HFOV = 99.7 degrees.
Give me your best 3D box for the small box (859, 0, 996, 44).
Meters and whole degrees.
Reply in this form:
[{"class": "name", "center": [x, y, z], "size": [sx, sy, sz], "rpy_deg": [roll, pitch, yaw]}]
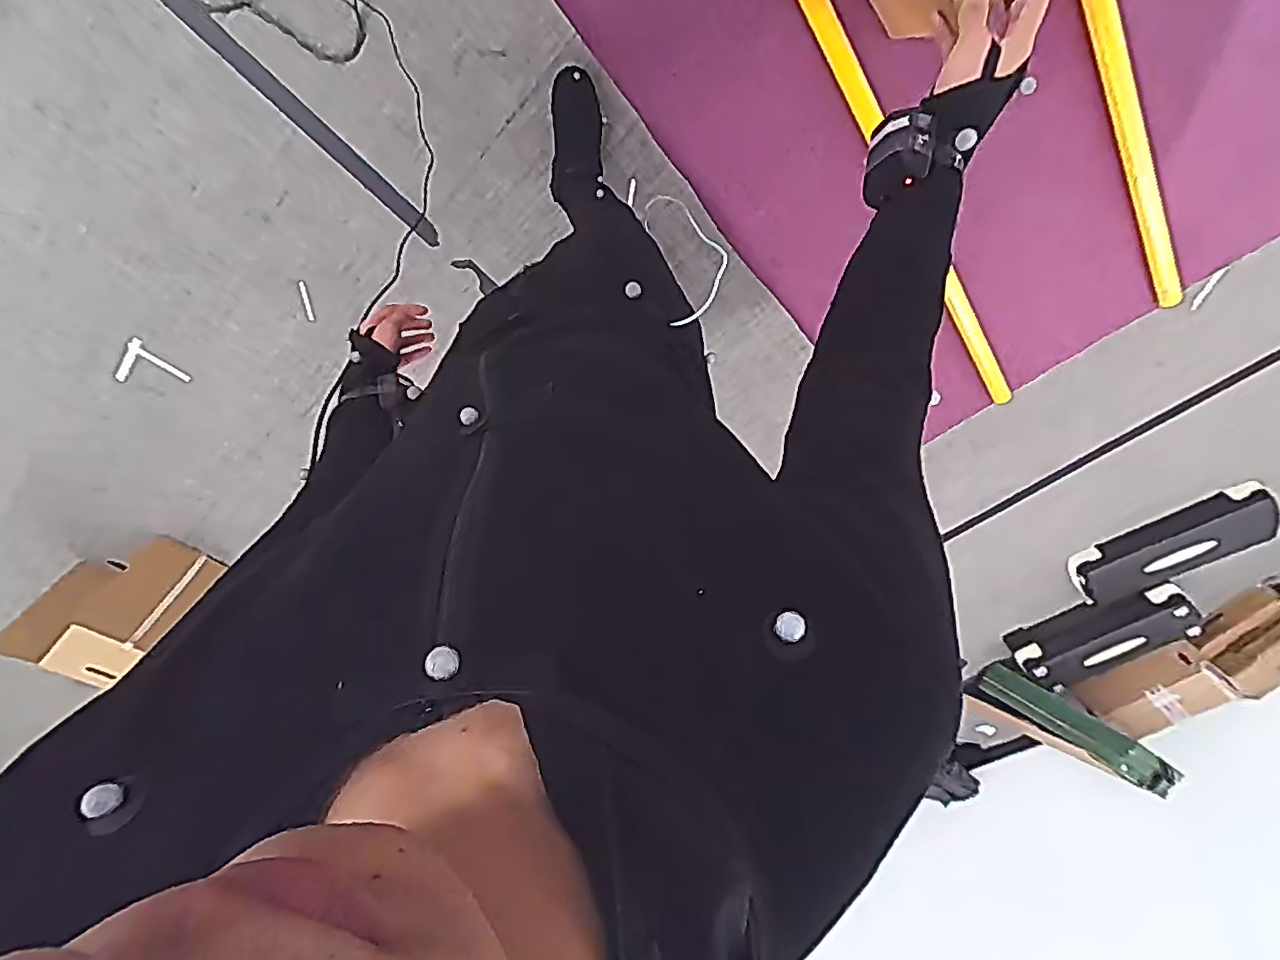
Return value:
[{"class": "small box", "center": [0.270, -0.533, 0.471], "size": [0.179, 0.176, 0.168], "rpy_deg": [36, 119, -28]}]
